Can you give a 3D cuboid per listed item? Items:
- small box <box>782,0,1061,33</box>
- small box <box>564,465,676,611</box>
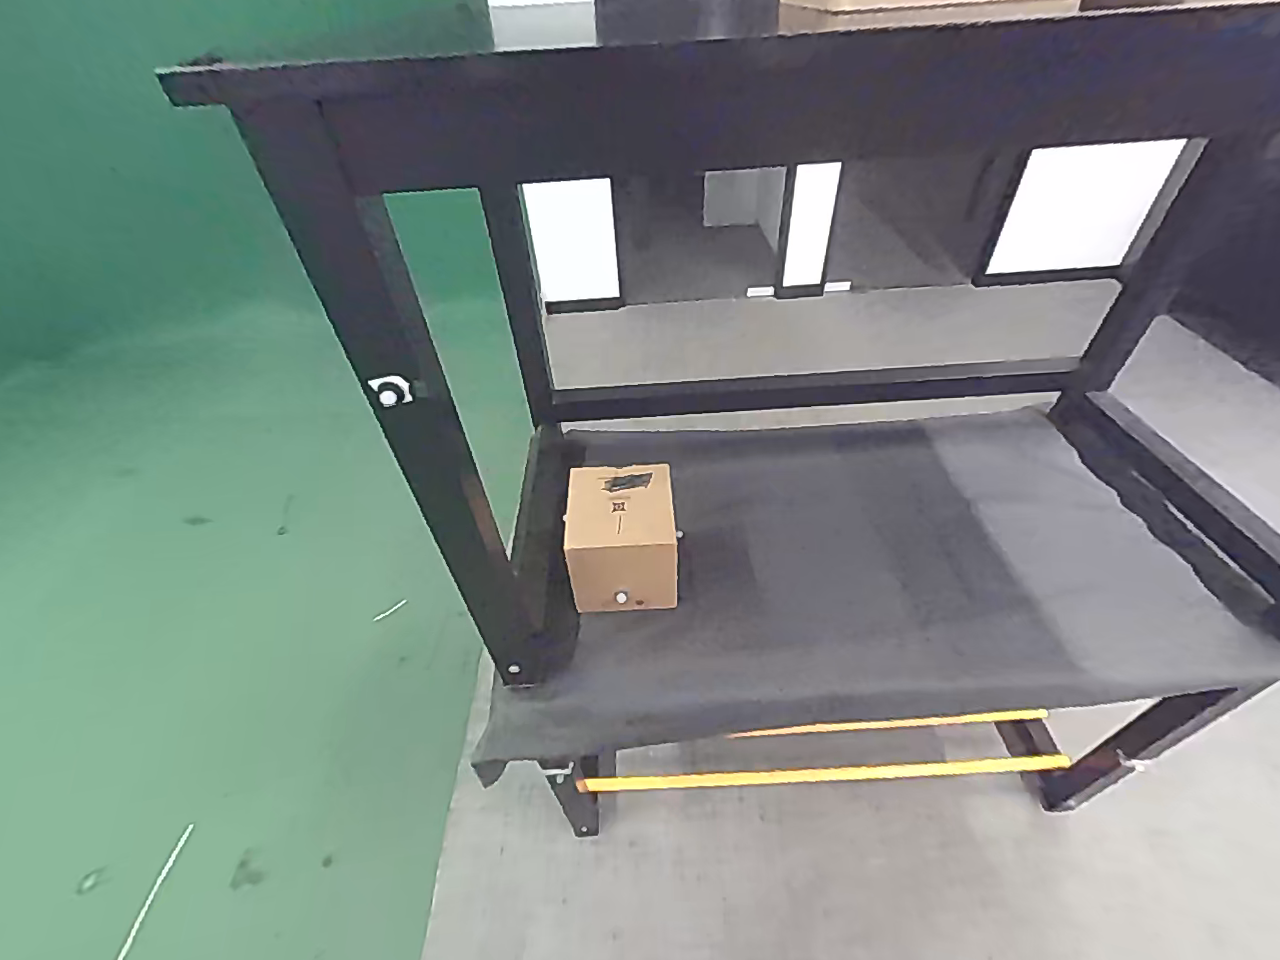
[{"bbox_3d":[0.205,-0.429,0.380,0.168,0.176,0.179,-3,43,1],"label":"small box"},{"bbox_3d":[-0.029,0.096,0.901,0.168,0.176,0.179,-3,43,0],"label":"small box"}]
